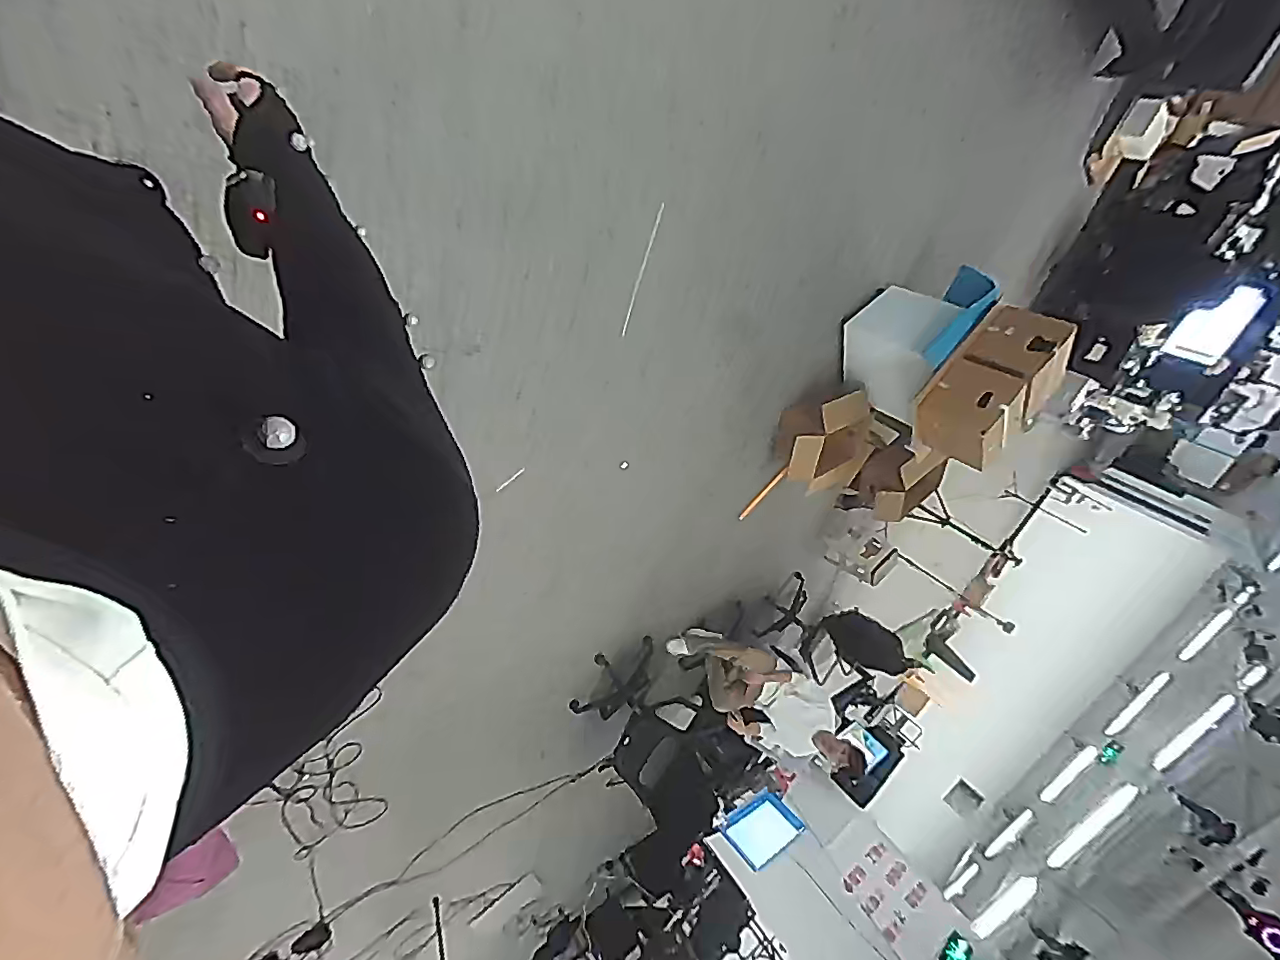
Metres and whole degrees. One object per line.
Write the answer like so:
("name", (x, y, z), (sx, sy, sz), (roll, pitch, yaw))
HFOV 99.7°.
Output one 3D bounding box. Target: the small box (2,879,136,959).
("small box", (-1.029, 0.873, 0.980), (0.168, 0.176, 0.179), (0, 119, -43))
